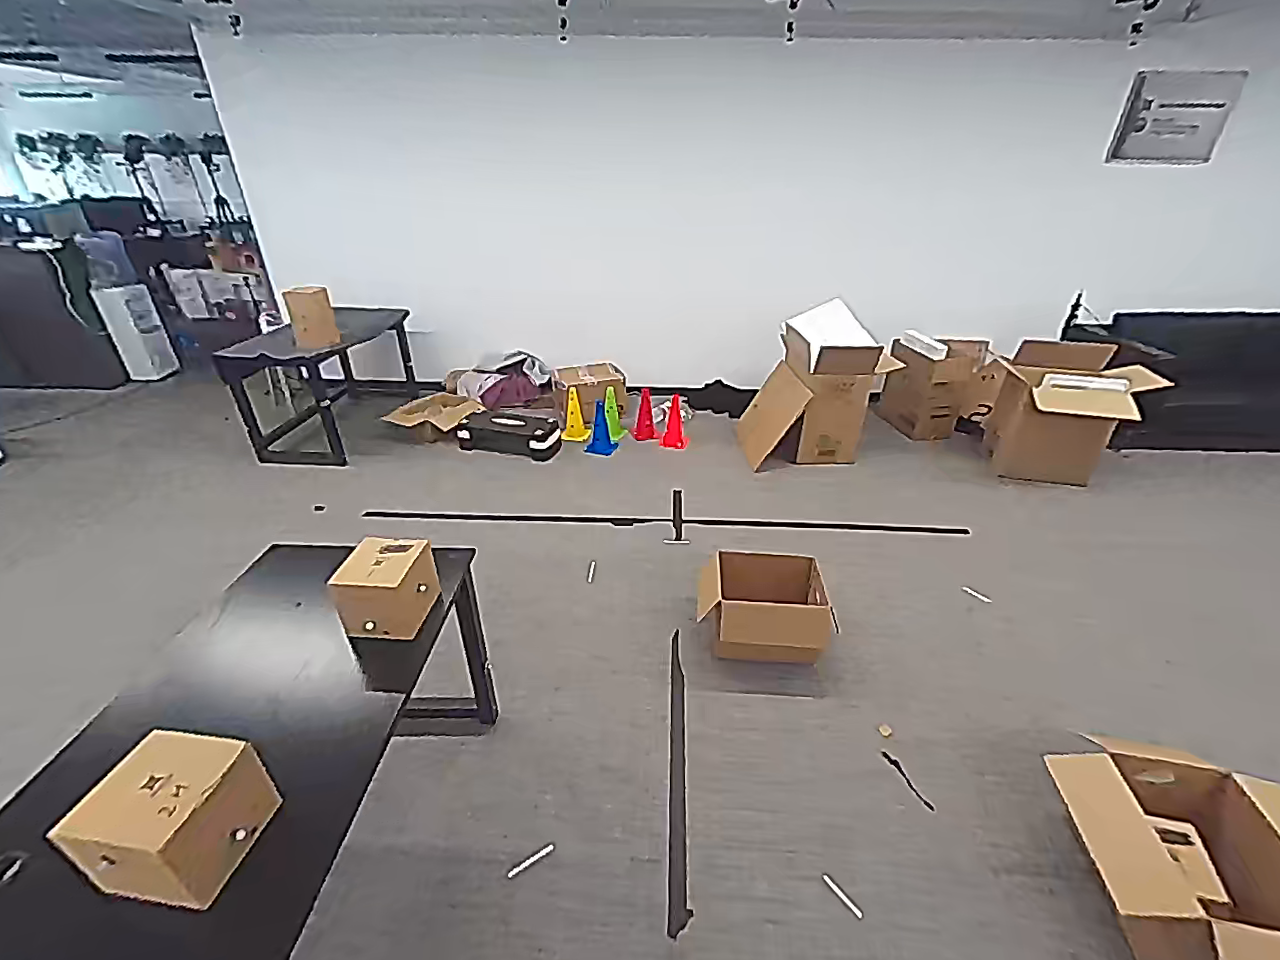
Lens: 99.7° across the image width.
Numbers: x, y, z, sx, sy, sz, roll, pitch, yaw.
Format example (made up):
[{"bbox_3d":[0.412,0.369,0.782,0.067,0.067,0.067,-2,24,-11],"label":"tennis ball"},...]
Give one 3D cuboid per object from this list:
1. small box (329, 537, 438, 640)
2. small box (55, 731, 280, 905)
[{"bbox_3d":[-0.606,0.259,1.306,0.168,0.176,0.179,1,31,4],"label":"small box"},{"bbox_3d":[-0.718,0.527,0.846,0.179,0.176,0.168,4,31,7],"label":"small box"}]
